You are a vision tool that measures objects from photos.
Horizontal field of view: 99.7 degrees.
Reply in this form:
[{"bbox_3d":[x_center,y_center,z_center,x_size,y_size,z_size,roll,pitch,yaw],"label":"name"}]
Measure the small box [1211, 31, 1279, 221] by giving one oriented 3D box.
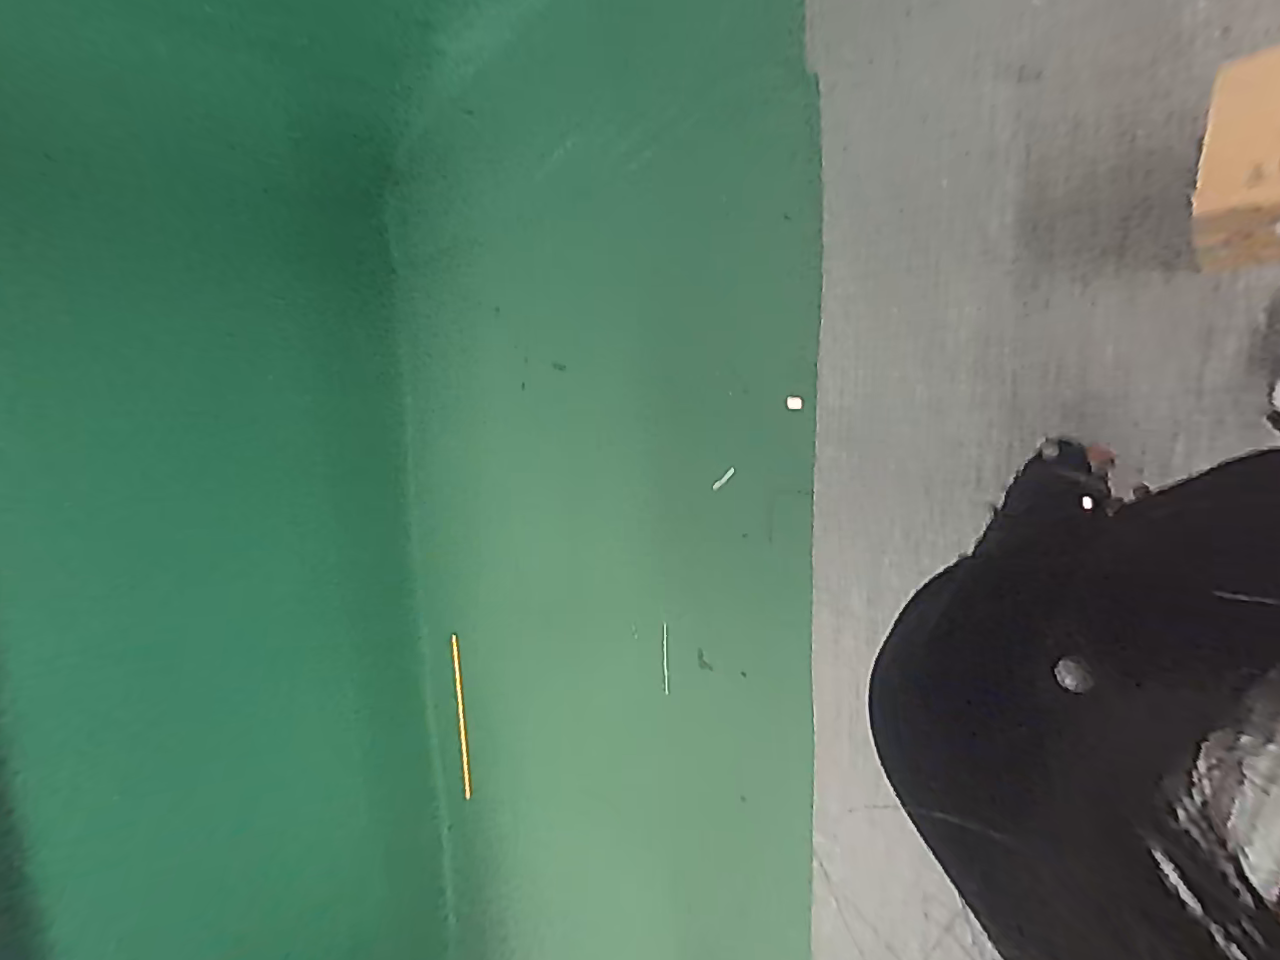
[{"bbox_3d":[0.835,-0.441,0.665,0.168,0.176,0.179,10,105,46],"label":"small box"}]
